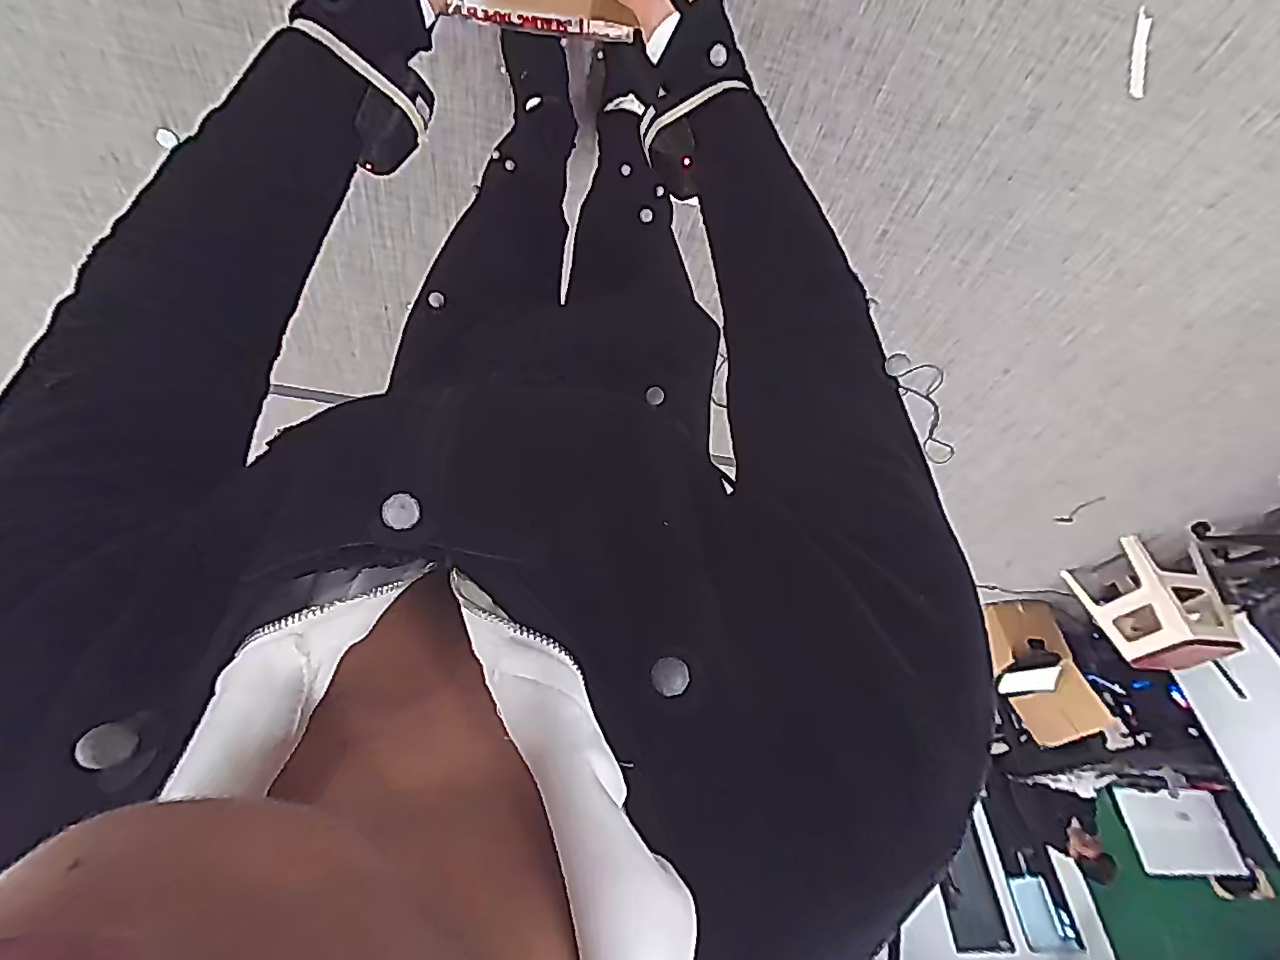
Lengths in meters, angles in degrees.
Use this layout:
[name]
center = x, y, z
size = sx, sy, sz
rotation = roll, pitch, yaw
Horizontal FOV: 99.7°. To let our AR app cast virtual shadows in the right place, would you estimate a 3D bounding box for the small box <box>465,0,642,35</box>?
[small box]
center = -0.066, -0.509, 0.434
size = 0.168, 0.176, 0.179
rotation = 4, 145, -8
